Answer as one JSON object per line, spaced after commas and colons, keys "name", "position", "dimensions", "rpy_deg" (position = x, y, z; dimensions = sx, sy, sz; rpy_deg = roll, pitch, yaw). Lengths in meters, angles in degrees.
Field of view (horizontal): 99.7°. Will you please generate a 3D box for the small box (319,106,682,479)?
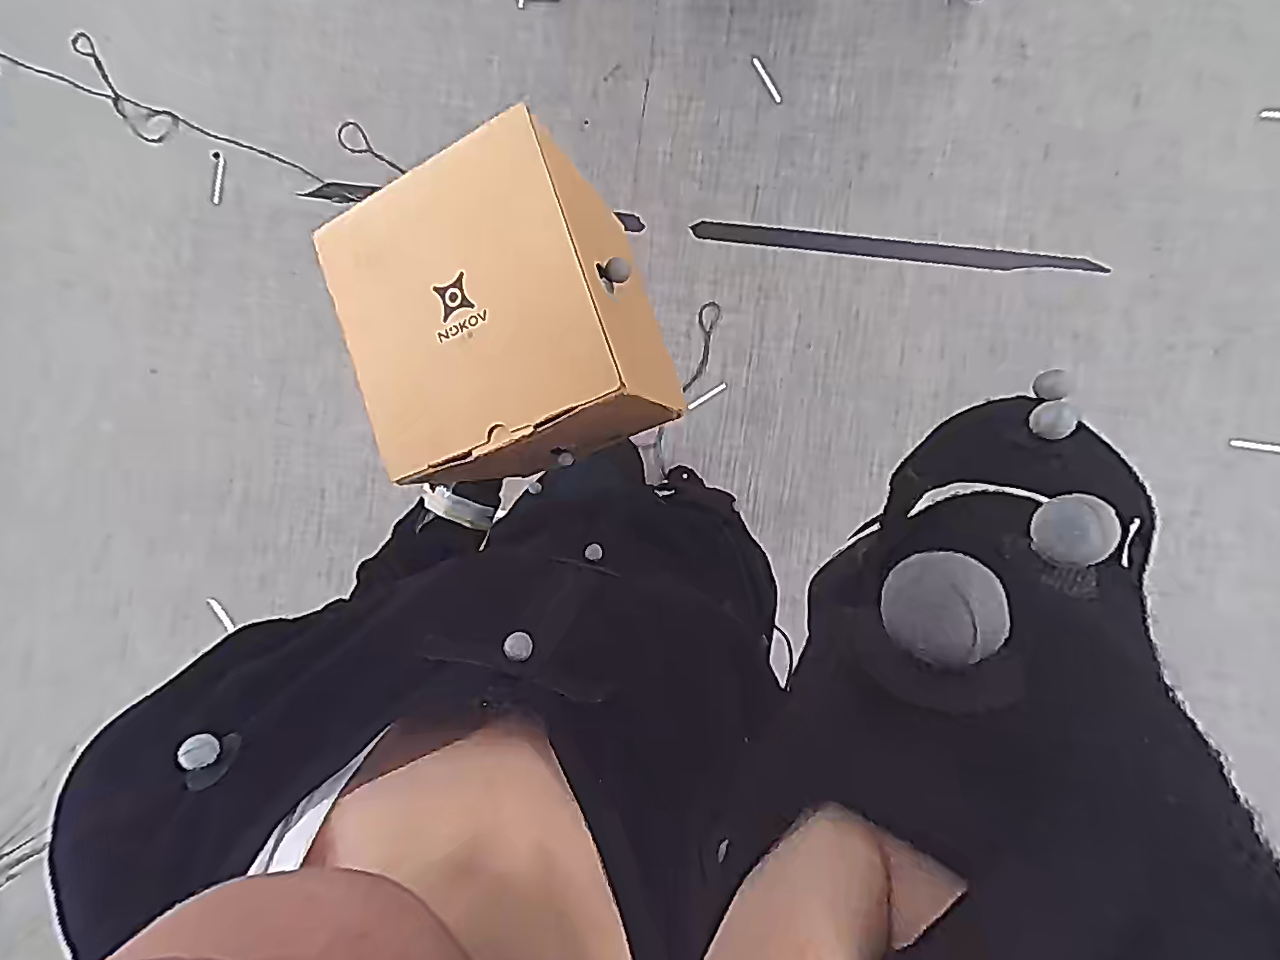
{"name": "small box", "position": [-0.084, -0.109, 0.398], "dimensions": [0.168, 0.176, 0.179], "rpy_deg": [-20, 88, 17]}
